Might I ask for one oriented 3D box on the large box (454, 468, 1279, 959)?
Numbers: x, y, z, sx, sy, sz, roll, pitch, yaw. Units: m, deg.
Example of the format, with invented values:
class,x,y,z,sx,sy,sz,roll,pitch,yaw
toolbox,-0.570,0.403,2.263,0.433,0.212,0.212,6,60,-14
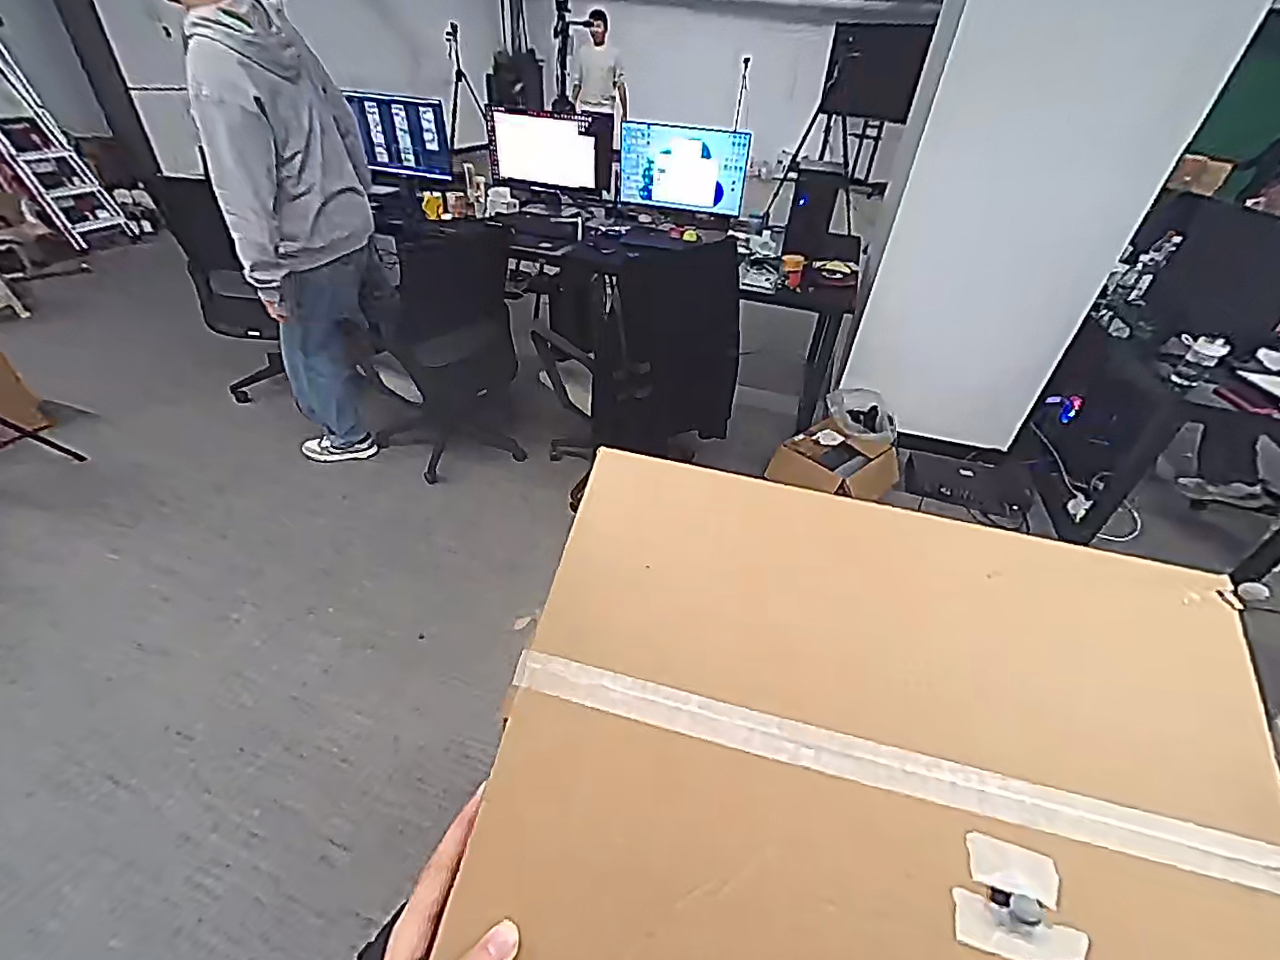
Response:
class,x,y,z,sx,sy,sz,roll,pitch,yaw
large box,0.132,0.226,0.433,0.408,0.320,0.320,12,65,8
